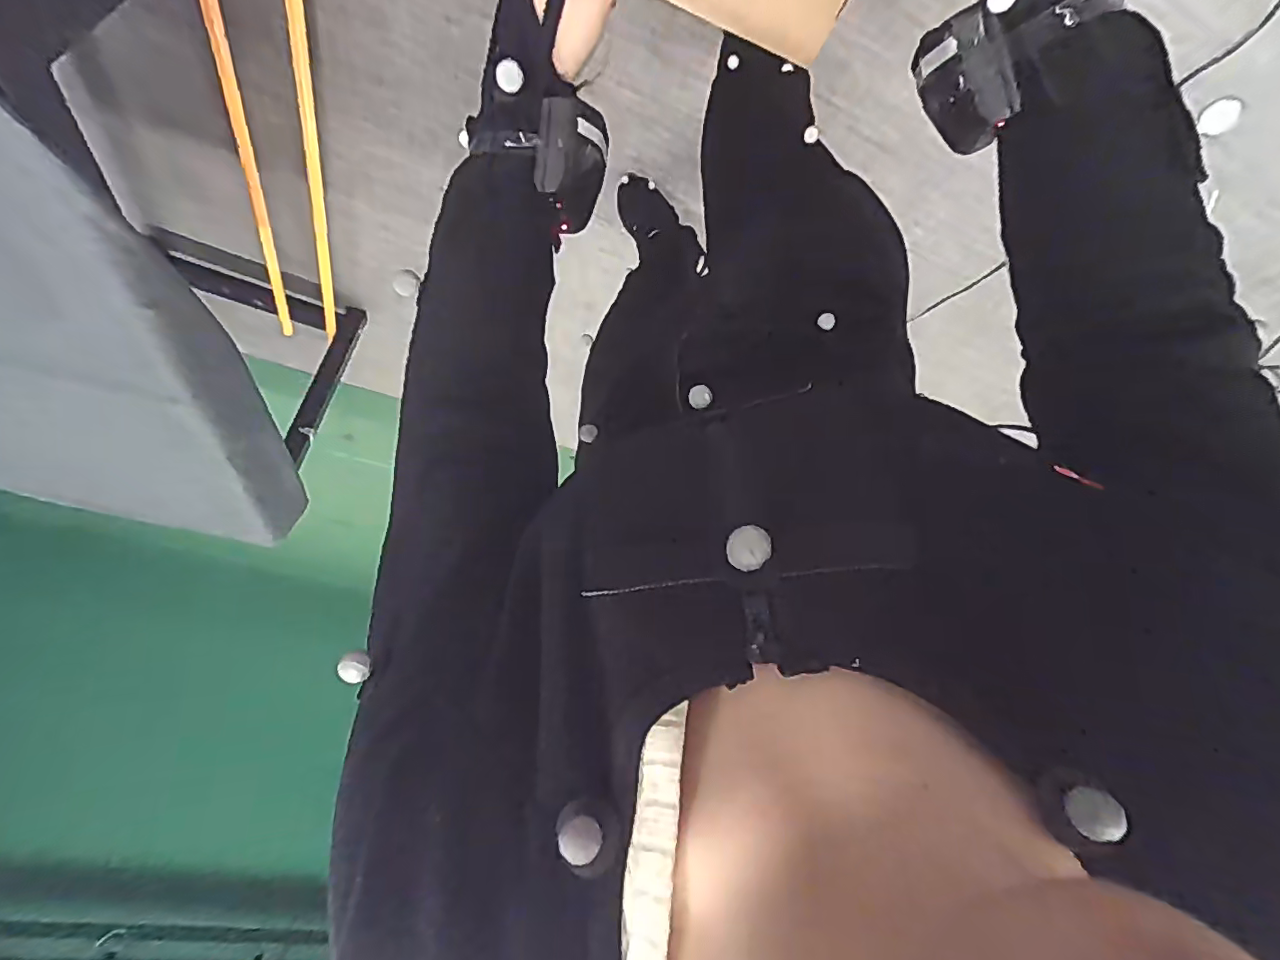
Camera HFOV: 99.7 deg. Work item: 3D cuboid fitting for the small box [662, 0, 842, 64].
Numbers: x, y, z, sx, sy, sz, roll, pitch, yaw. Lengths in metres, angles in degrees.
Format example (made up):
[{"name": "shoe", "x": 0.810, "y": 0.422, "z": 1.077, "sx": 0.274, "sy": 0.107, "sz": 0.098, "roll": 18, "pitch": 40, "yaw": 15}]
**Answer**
[{"name": "small box", "x": 0.068, "y": -0.404, "z": 0.311, "sx": 0.179, "sy": 0.176, "sz": 0.168, "roll": 15, "pitch": 155, "yaw": -13}]
